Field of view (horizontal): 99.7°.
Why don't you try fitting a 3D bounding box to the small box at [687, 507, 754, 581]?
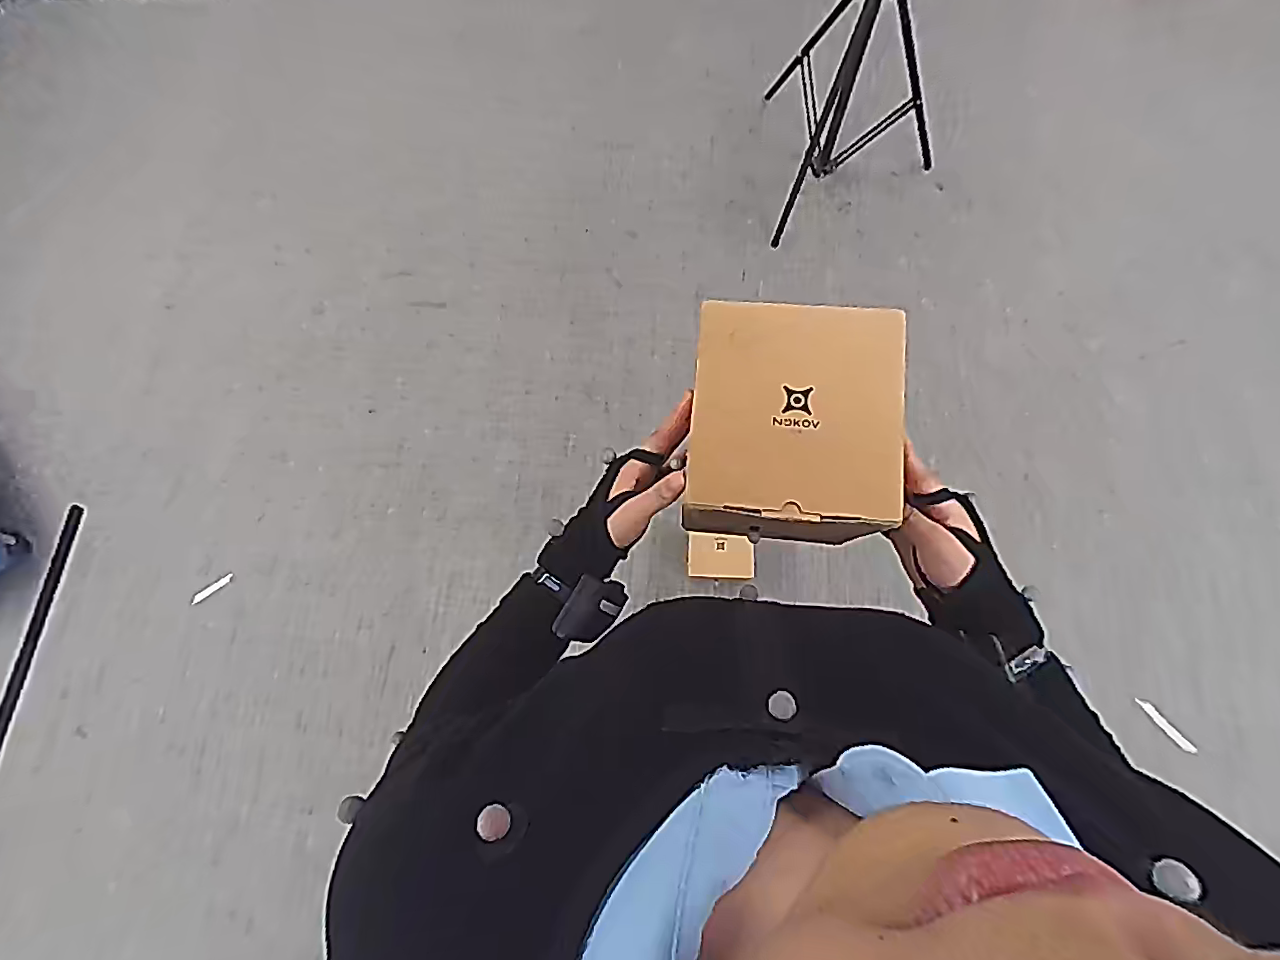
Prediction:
[{"bbox_3d":[0.211,0.175,1.443,0.168,0.176,0.179,2,76,4],"label":"small box"}]
